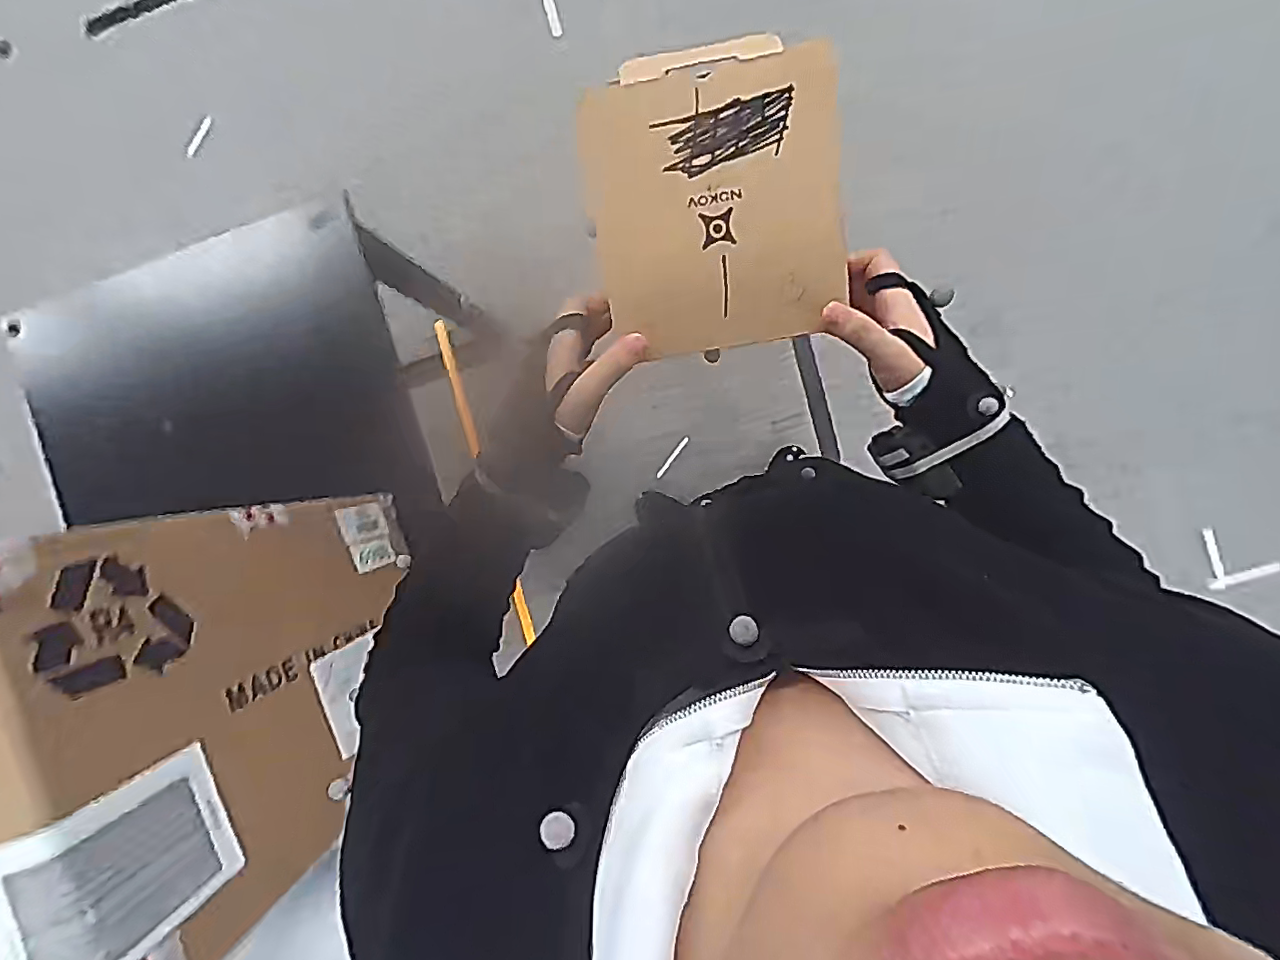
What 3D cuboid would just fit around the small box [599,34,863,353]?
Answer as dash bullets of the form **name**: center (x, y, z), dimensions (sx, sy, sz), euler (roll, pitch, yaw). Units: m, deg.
- **small box**: center (0.066, -0.202, 0.433), dimensions (0.168, 0.176, 0.179), euler (-7, 106, 5)
